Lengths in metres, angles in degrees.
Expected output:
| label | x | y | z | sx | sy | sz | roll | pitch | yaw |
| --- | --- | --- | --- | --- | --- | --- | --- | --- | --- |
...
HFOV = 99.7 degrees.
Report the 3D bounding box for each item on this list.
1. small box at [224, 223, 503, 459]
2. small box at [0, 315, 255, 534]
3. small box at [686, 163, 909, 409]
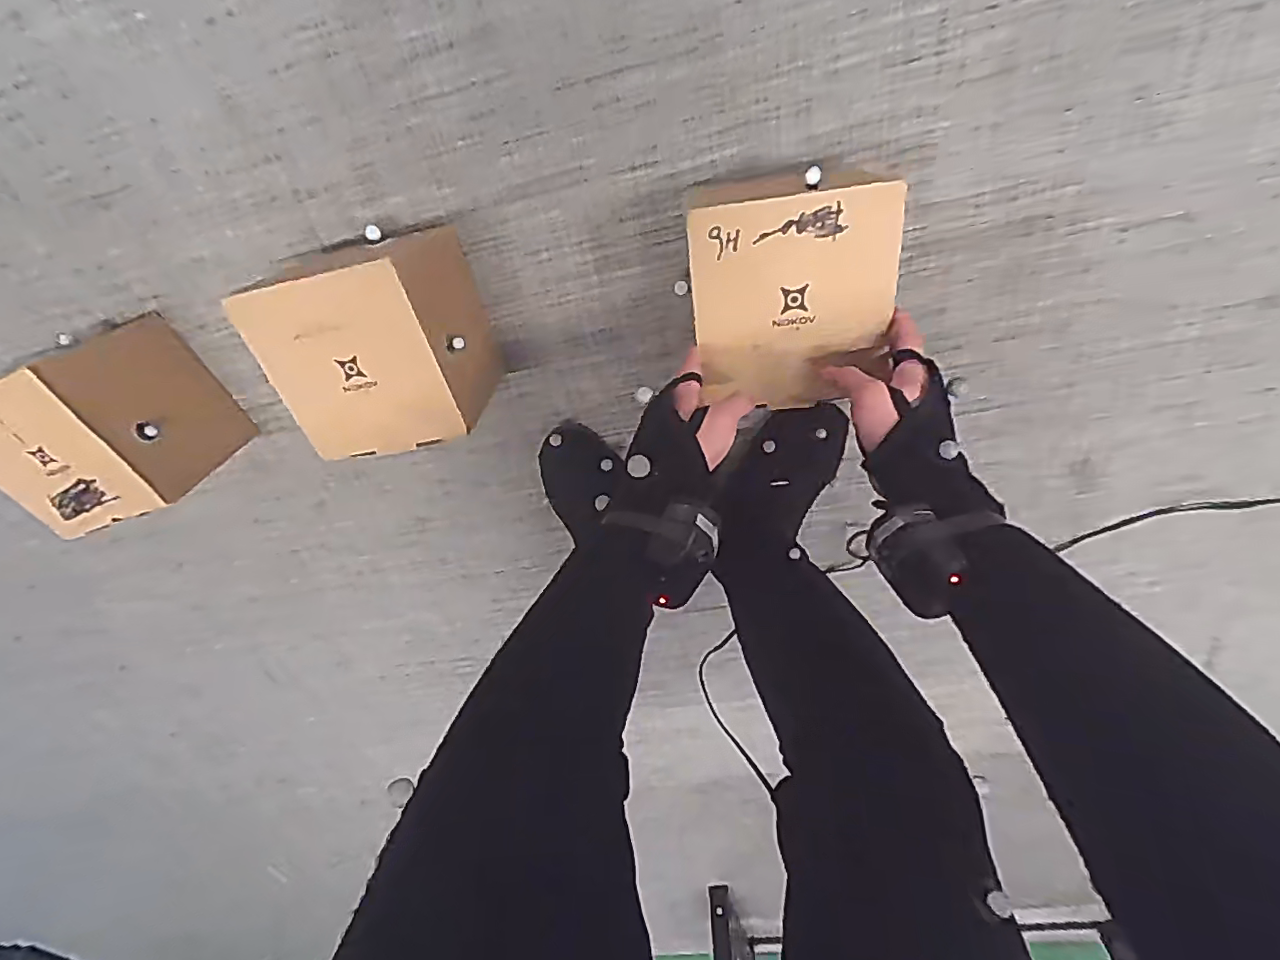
| label | x | y | z | sx | sy | sz | roll | pitch | yaw |
| --- | --- | --- | --- | --- | --- | --- | --- | --- | --- |
| small box | -0.262 | -0.148 | 0.568 | 0.168 | 0.176 | 0.179 | -10 | 123 | 8 |
| small box | -0.617 | -0.068 | 0.640 | 0.168 | 0.176 | 0.179 | -15 | 122 | 13 |
| small box | 0.131 | -0.187 | 0.516 | 0.168 | 0.176 | 0.179 | -4 | 124 | 7 |
